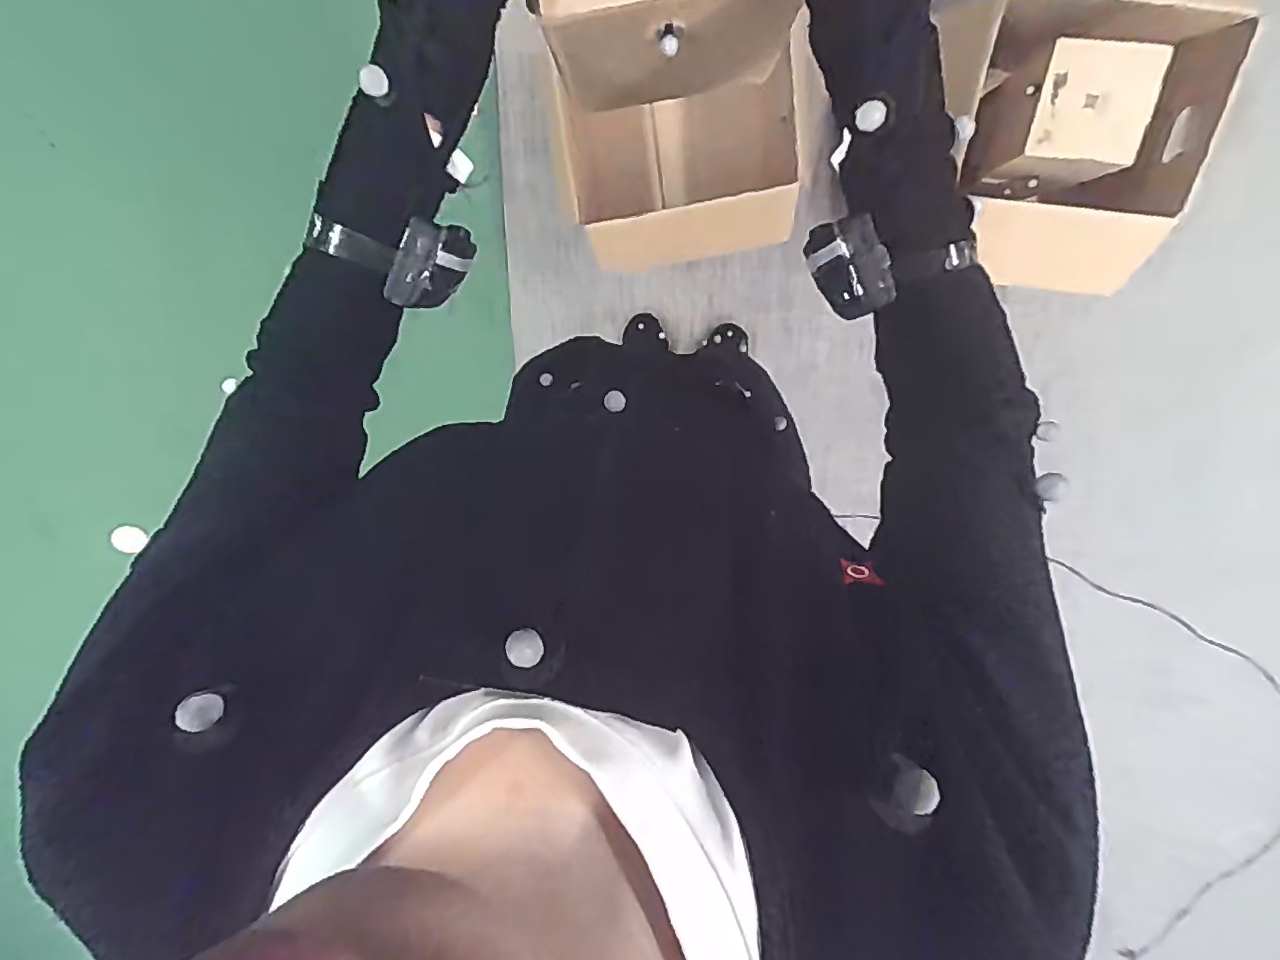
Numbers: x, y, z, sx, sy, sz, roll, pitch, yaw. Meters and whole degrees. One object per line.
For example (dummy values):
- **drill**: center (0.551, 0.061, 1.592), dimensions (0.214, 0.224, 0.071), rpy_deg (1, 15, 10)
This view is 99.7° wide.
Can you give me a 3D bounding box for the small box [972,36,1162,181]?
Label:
- **small box**: center (0.733, -0.639, 0.952), dimensions (0.179, 0.176, 0.168), rpy_deg (7, 107, 3)
